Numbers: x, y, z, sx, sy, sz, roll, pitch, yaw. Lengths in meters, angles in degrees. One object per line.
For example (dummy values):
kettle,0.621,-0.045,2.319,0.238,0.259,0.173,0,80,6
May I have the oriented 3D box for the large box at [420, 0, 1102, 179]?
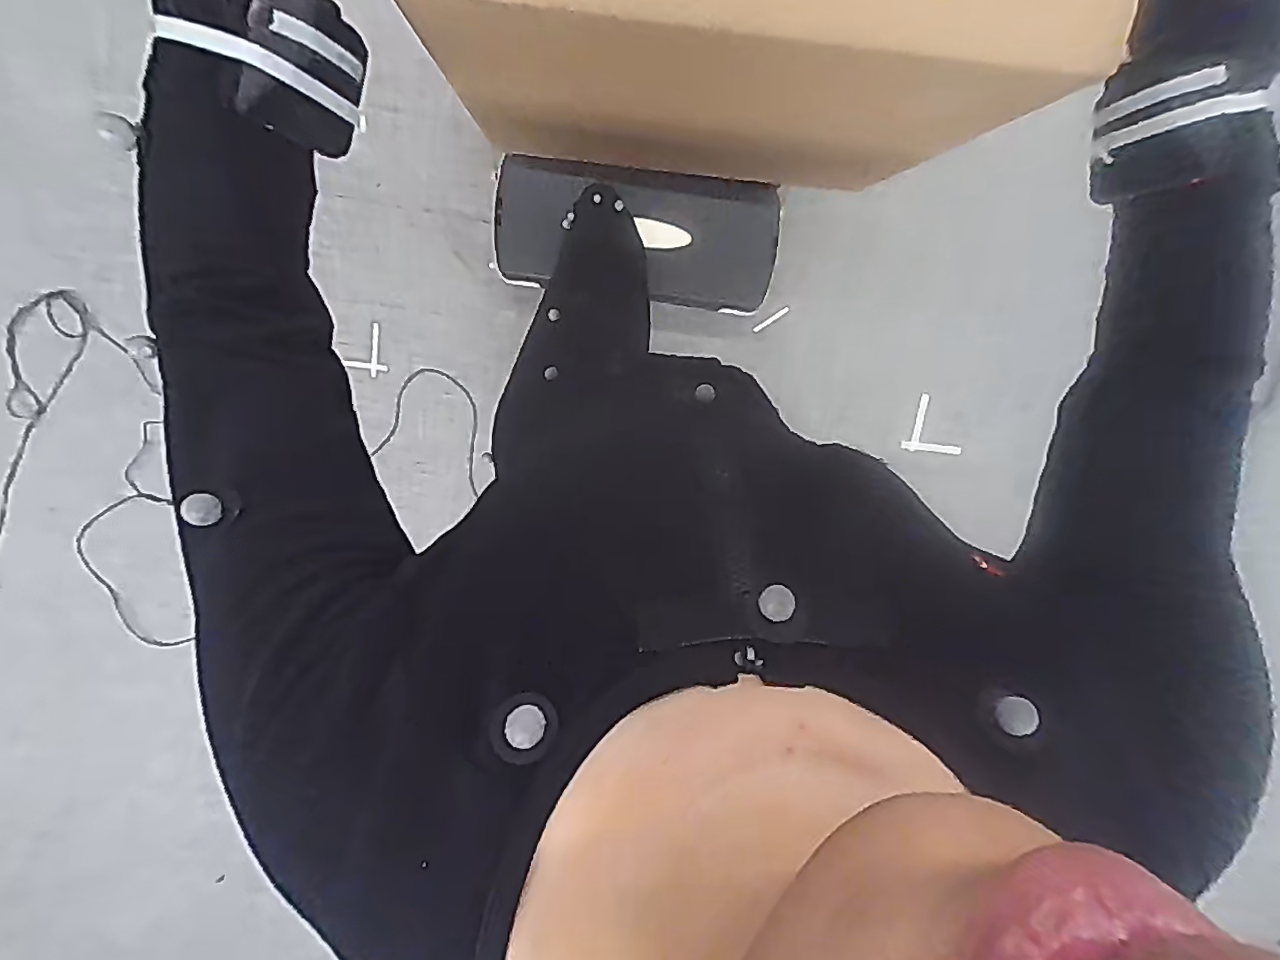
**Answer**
large box,0.065,-0.444,0.402,0.408,0.320,0.320,3,107,-6
